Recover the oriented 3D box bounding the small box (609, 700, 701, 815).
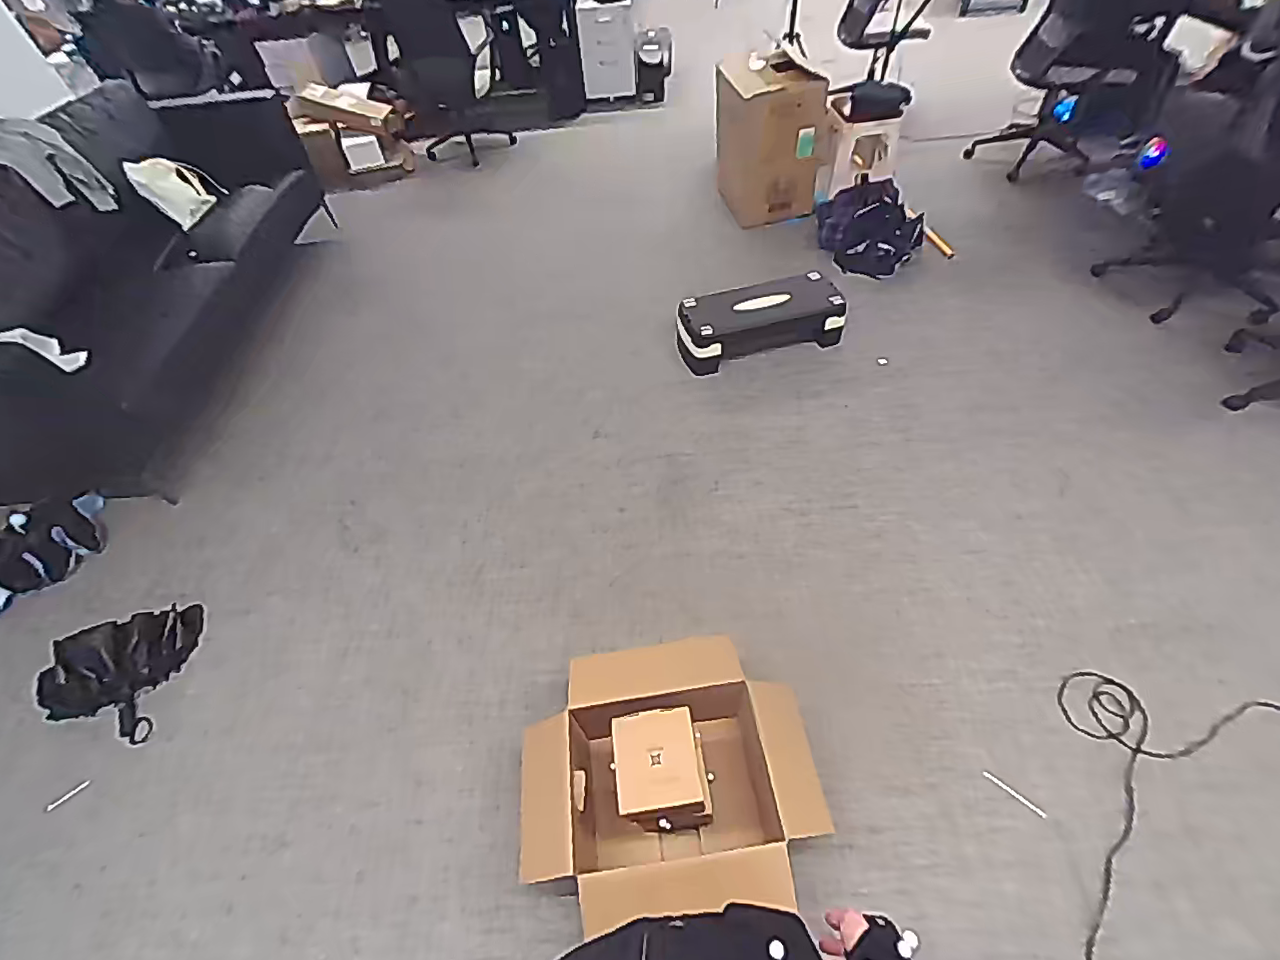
[{"bbox_3d":[0.032,0.588,1.141,0.168,0.176,0.179,-10,53,1],"label":"small box"}]
